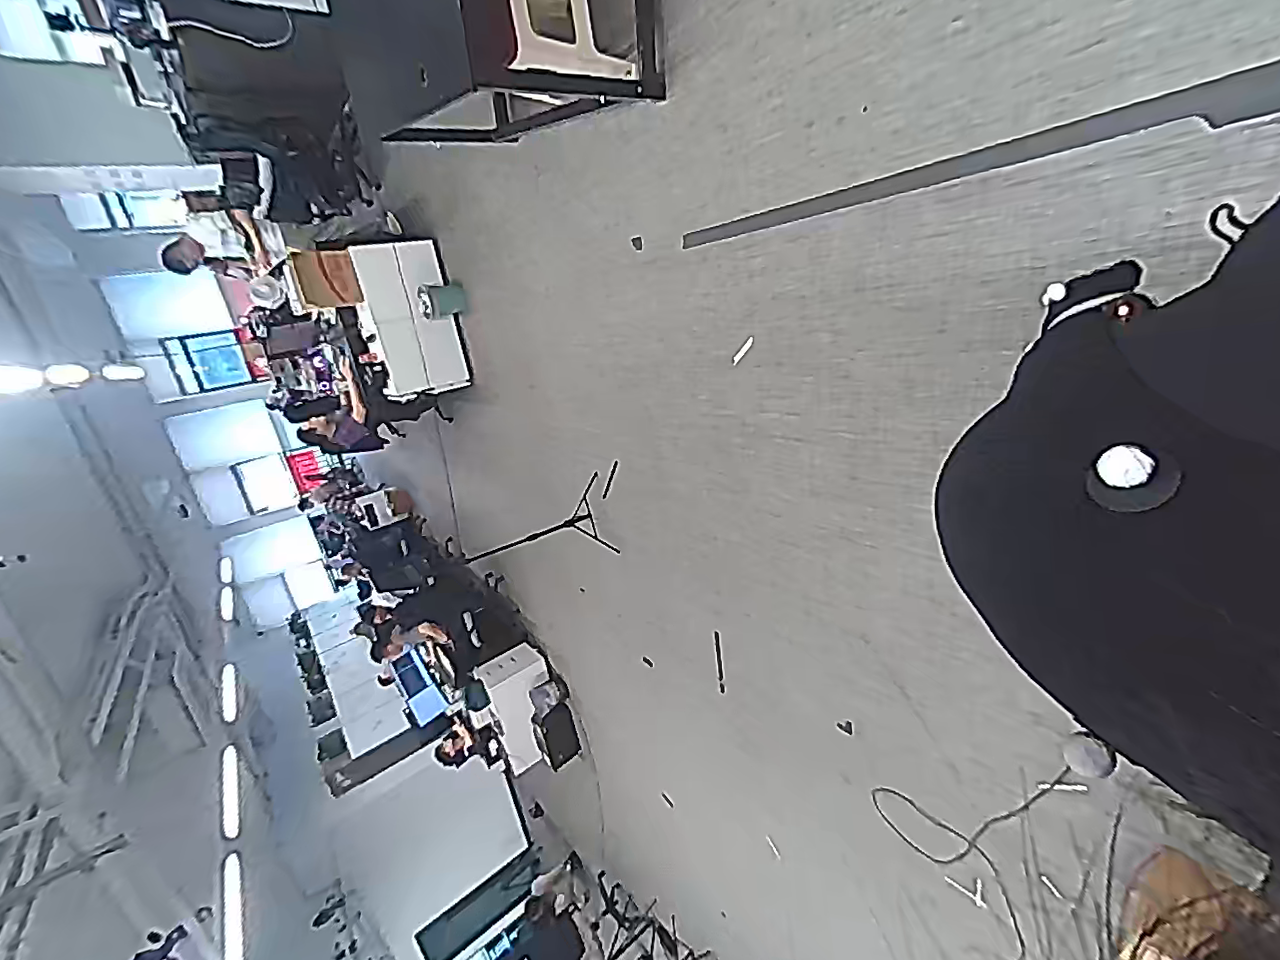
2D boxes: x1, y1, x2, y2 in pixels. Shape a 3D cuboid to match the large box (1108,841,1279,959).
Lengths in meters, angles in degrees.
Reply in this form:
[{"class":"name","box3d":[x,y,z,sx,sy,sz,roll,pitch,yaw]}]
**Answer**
[{"class":"large box","box3d":[1.405,1.182,1.264,0.408,0.320,0.320,24,127,46]}]
